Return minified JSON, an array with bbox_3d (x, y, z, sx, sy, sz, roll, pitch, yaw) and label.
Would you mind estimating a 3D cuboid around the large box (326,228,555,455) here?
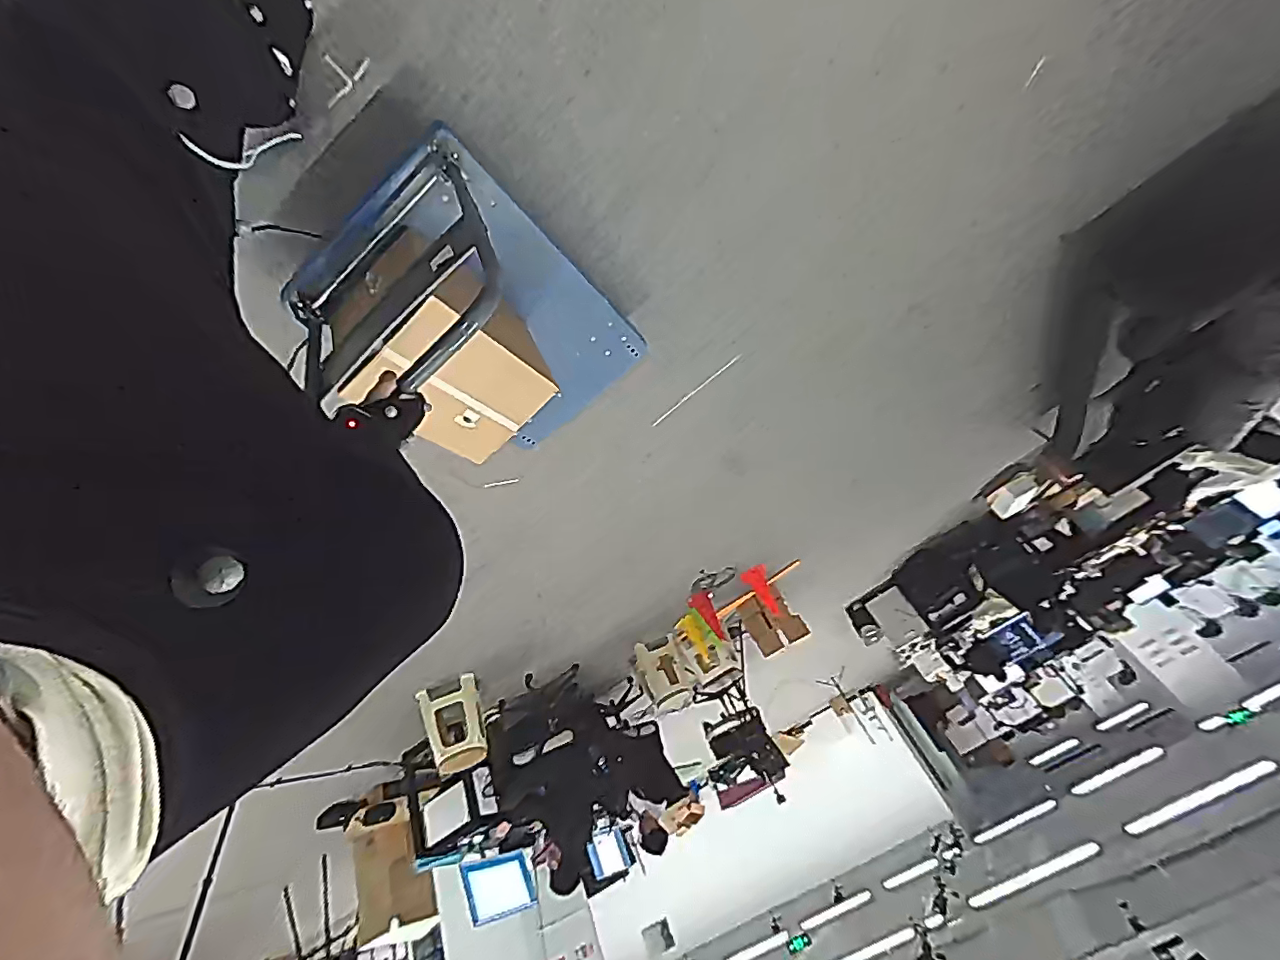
[{"bbox_3d":[-0.496,-0.330,1.355,0.320,0.320,0.408,-39,144,14],"label":"large box"}]
